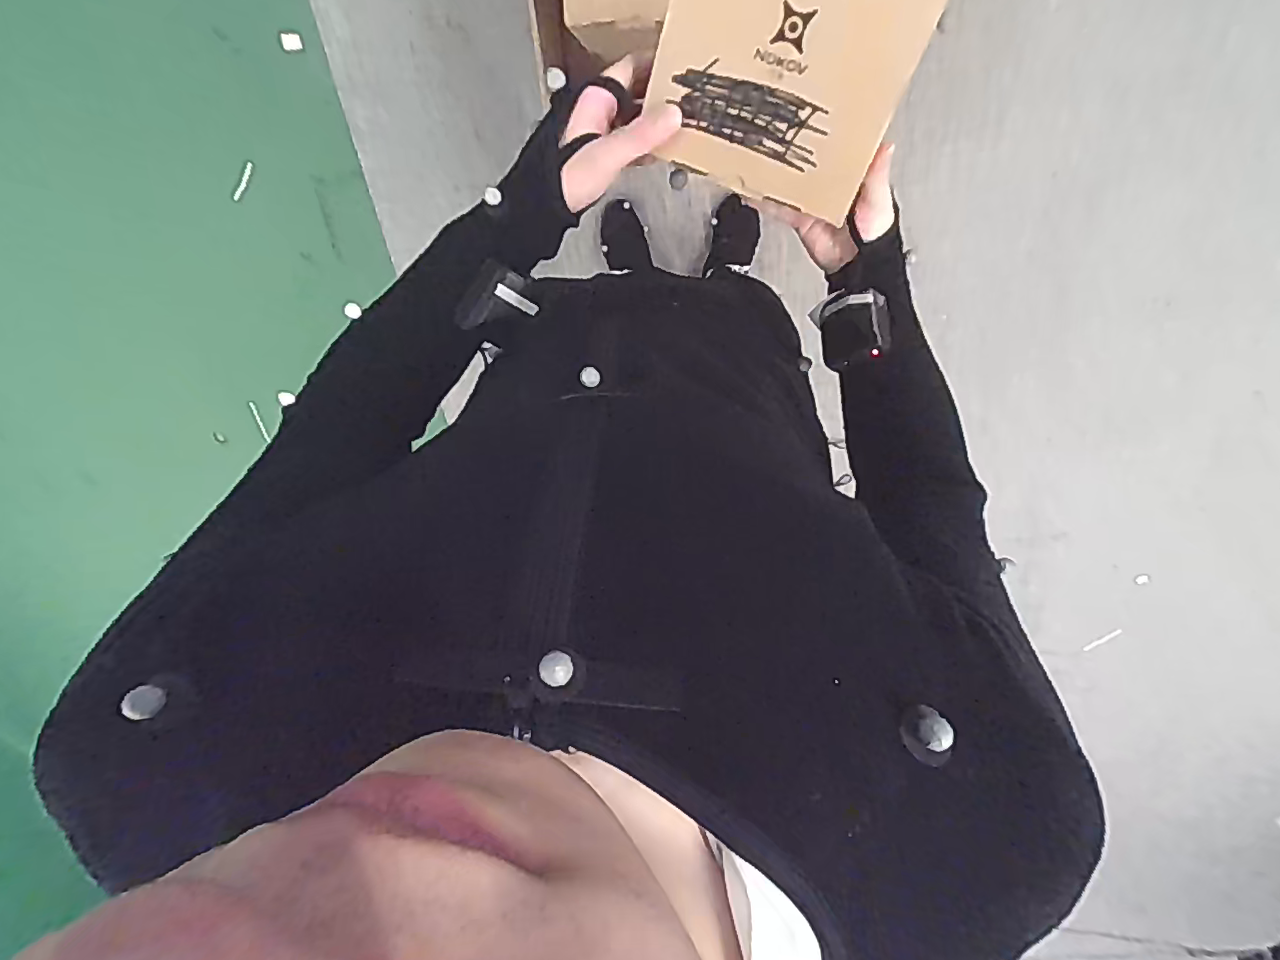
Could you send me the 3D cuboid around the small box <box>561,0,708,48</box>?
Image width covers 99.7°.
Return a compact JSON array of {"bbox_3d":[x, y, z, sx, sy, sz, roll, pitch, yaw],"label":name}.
[{"bbox_3d":[0.001,-0.631,0.636,0.168,0.176,0.179,3,120,3],"label":"small box"}]
